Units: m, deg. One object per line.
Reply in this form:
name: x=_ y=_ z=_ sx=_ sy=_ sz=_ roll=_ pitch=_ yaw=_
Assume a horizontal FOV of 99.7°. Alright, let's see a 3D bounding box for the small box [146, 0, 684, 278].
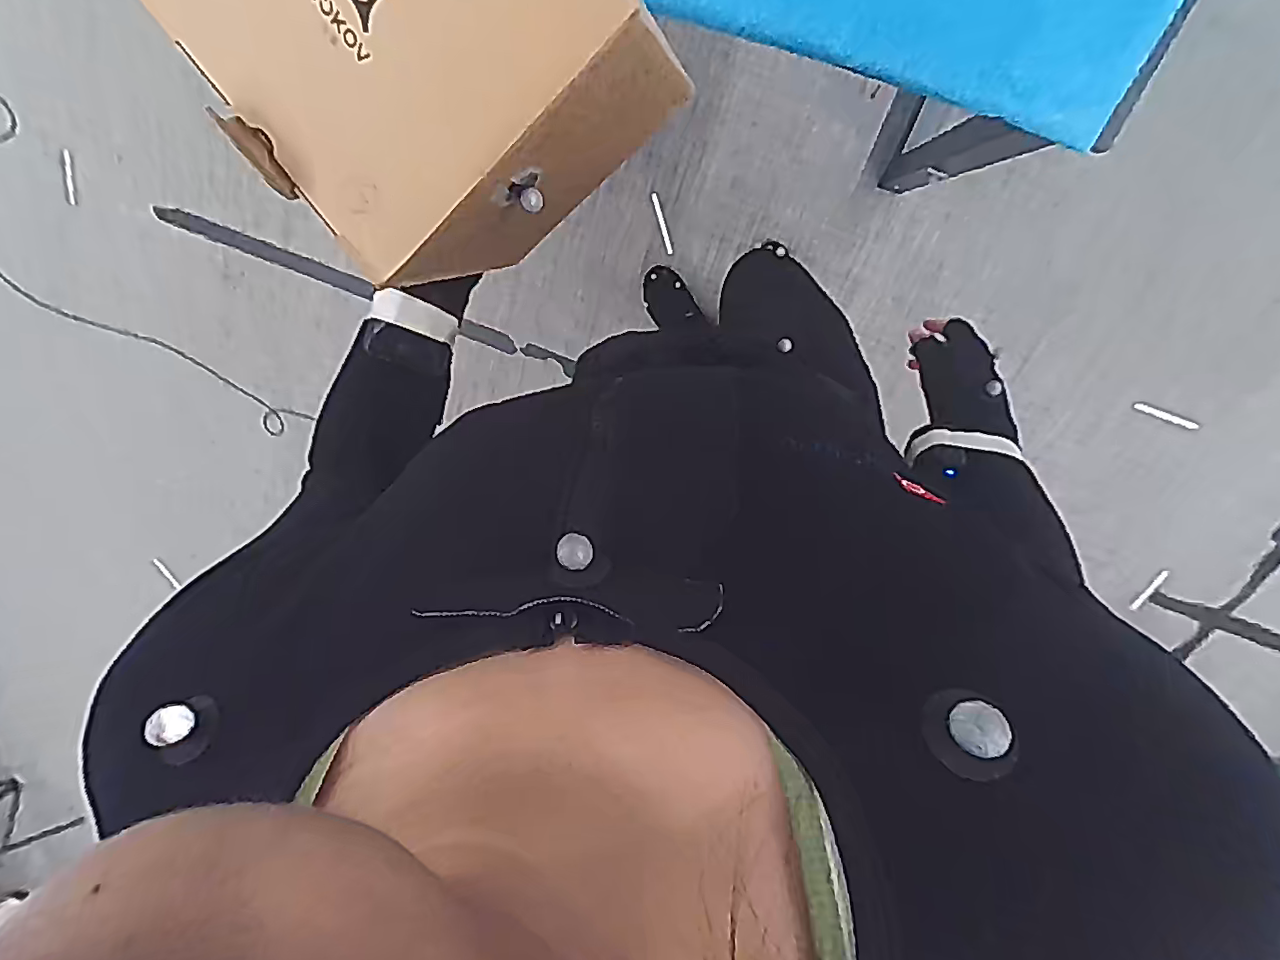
small box: x=-0.098 y=-0.236 z=0.291 sx=0.179 sy=0.176 sz=0.168 roll=-30 pitch=105 yaw=27
